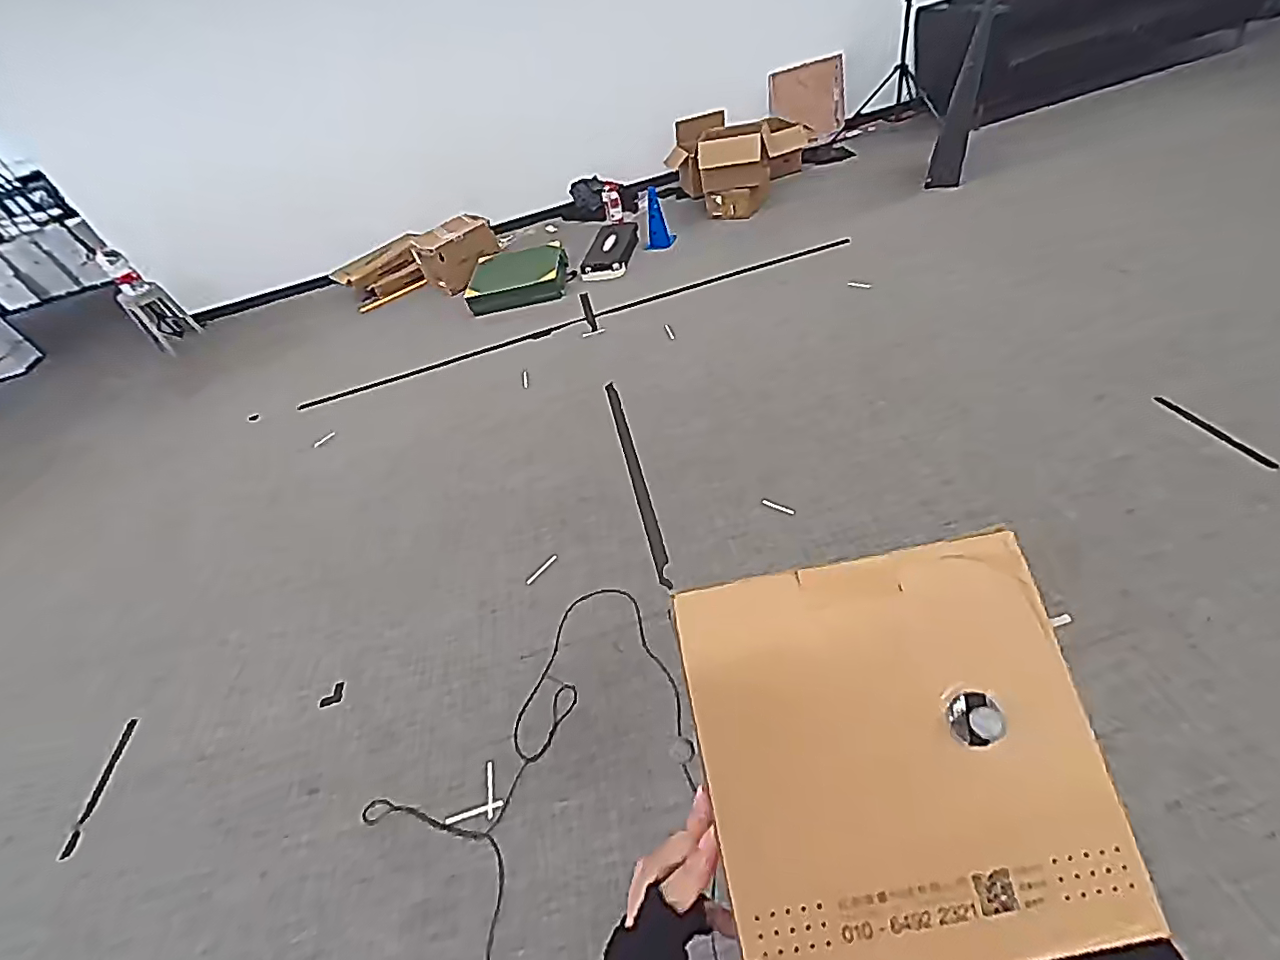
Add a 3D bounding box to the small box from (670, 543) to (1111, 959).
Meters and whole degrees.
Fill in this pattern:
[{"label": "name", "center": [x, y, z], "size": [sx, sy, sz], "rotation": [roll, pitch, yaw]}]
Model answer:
[{"label": "small box", "center": [0.117, 0.148, 0.326], "size": [0.168, 0.179, 0.176], "rotation": [-12, 74, 2]}]
